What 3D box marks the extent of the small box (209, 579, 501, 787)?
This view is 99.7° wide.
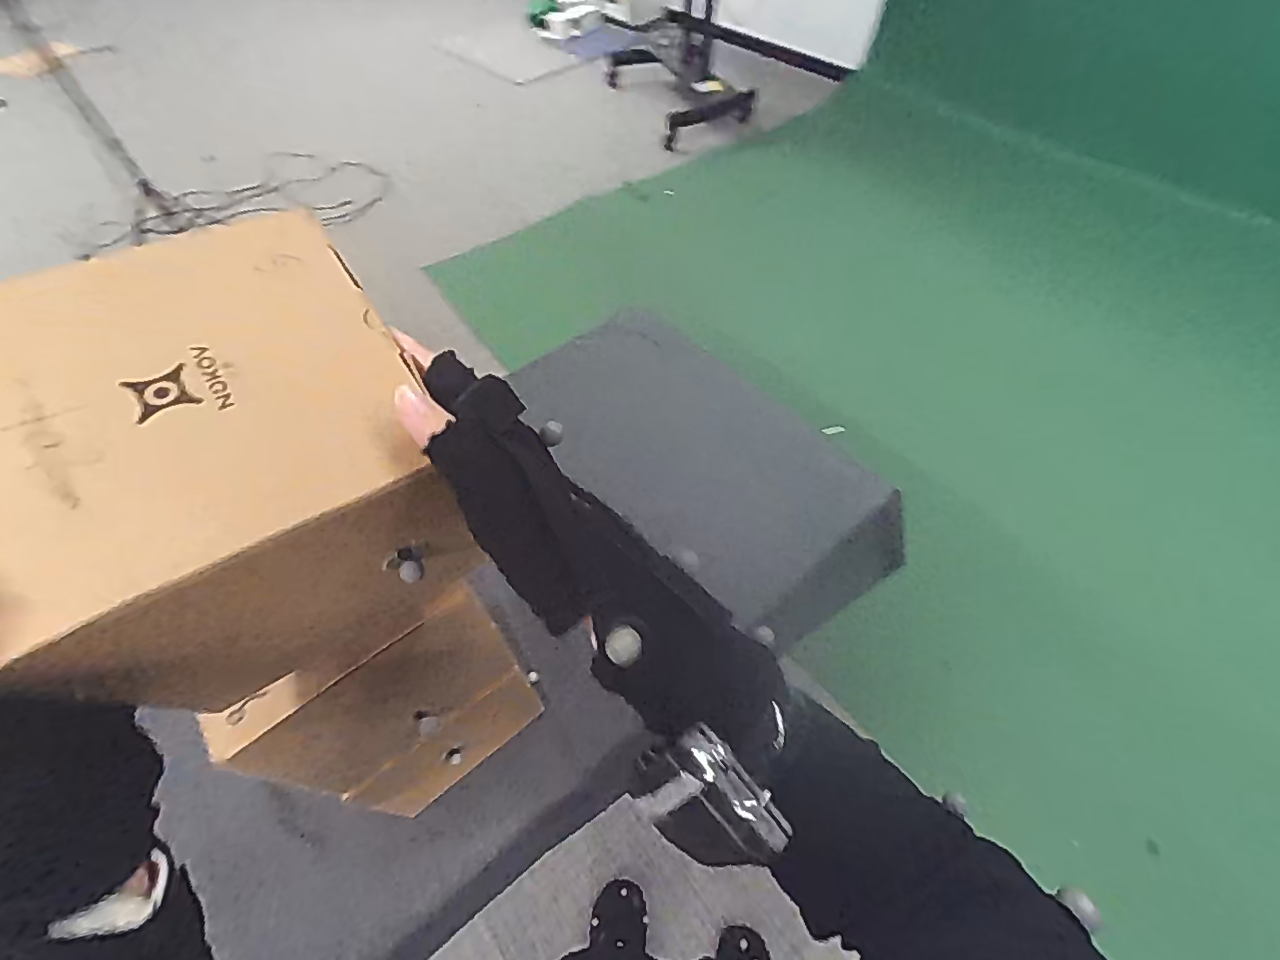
[{"bbox_3d":[-0.237,0.127,0.463,0.179,0.176,0.168,-34,61,-21],"label":"small box"}]

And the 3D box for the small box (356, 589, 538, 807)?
[{"bbox_3d":[-0.229,0.223,0.596,0.179,0.176,0.168,-37,62,-23],"label":"small box"}]

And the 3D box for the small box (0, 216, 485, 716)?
[{"bbox_3d":[-0.198,0.003,0.294,0.179,0.176,0.168,-31,75,-21],"label":"small box"}]
